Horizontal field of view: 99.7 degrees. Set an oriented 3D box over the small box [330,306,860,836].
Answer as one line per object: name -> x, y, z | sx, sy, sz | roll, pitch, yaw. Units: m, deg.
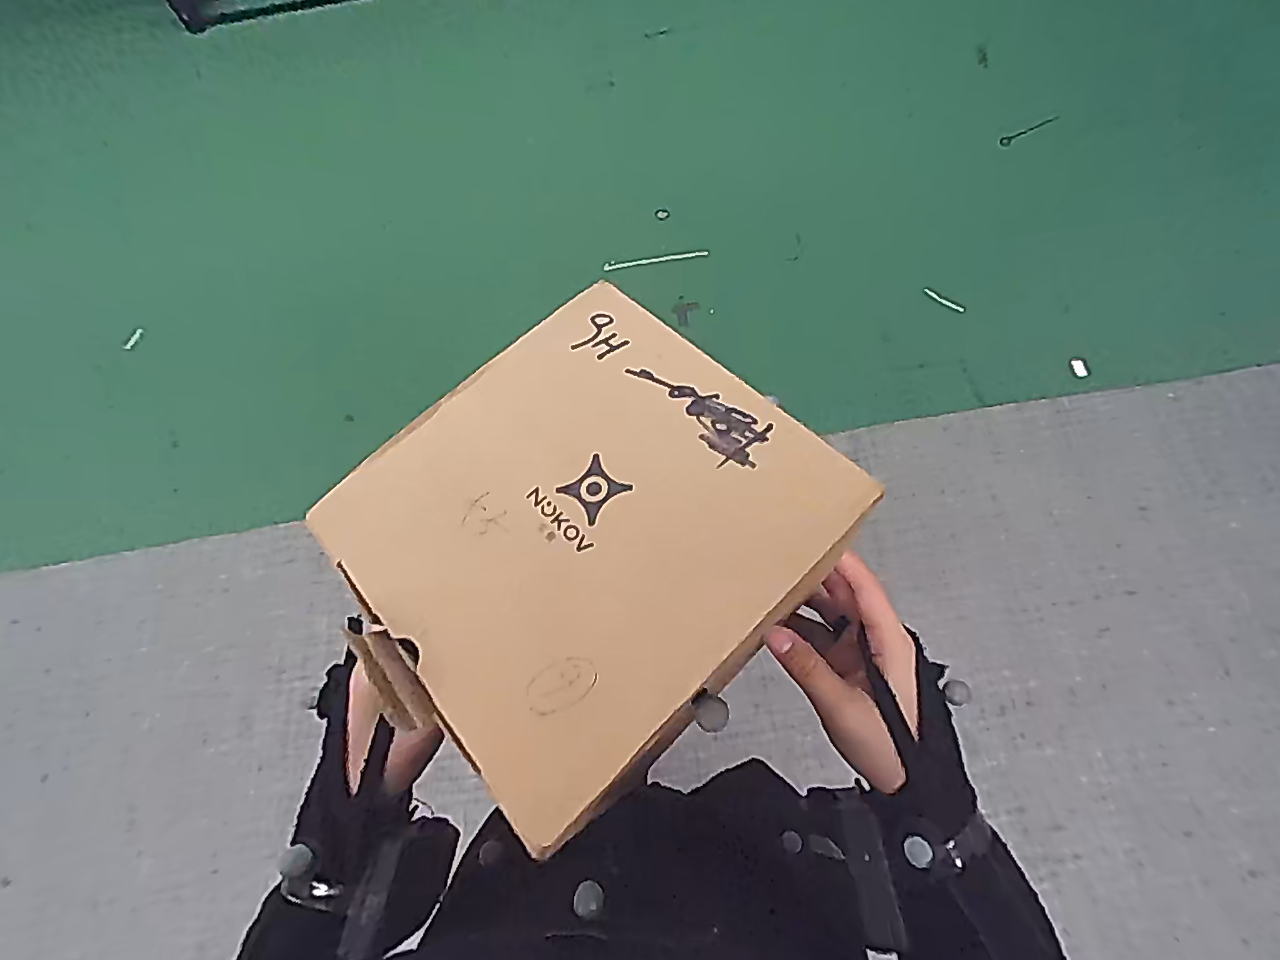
small box -> -0.015, 0.050, 0.301 | 0.179, 0.176, 0.168 | -43, 67, -13
